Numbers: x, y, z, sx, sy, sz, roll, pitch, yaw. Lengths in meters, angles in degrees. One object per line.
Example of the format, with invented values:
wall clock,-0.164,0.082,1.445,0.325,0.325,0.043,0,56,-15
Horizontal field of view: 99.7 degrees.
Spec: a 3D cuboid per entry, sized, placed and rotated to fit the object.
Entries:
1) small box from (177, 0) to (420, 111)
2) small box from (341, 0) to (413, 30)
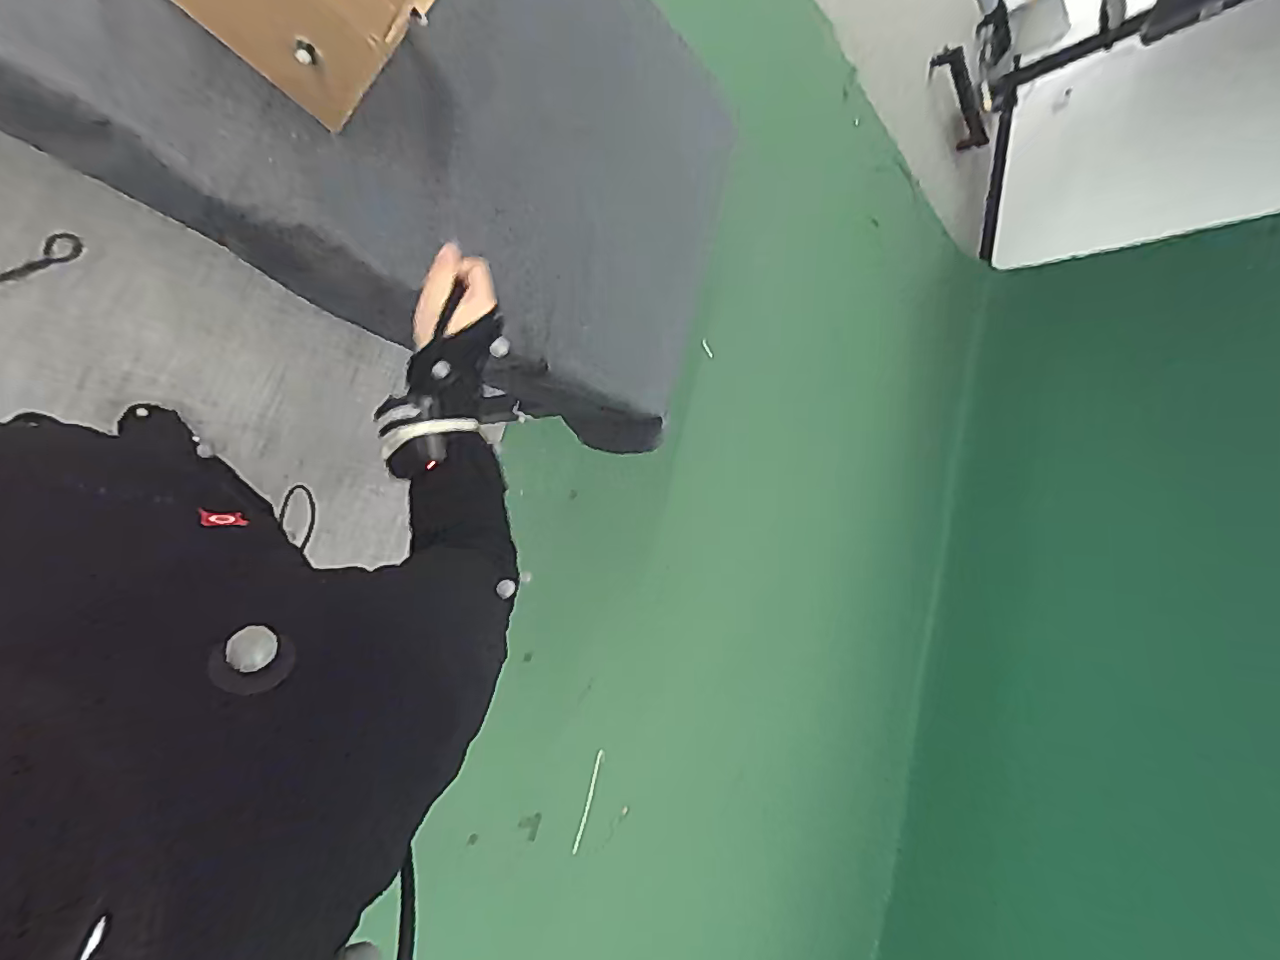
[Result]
small box,-0.305,-0.483,0.492,0.179,0.176,0.168,33,70,-37
small box,-0.197,-0.482,0.371,0.179,0.176,0.168,33,70,-38
